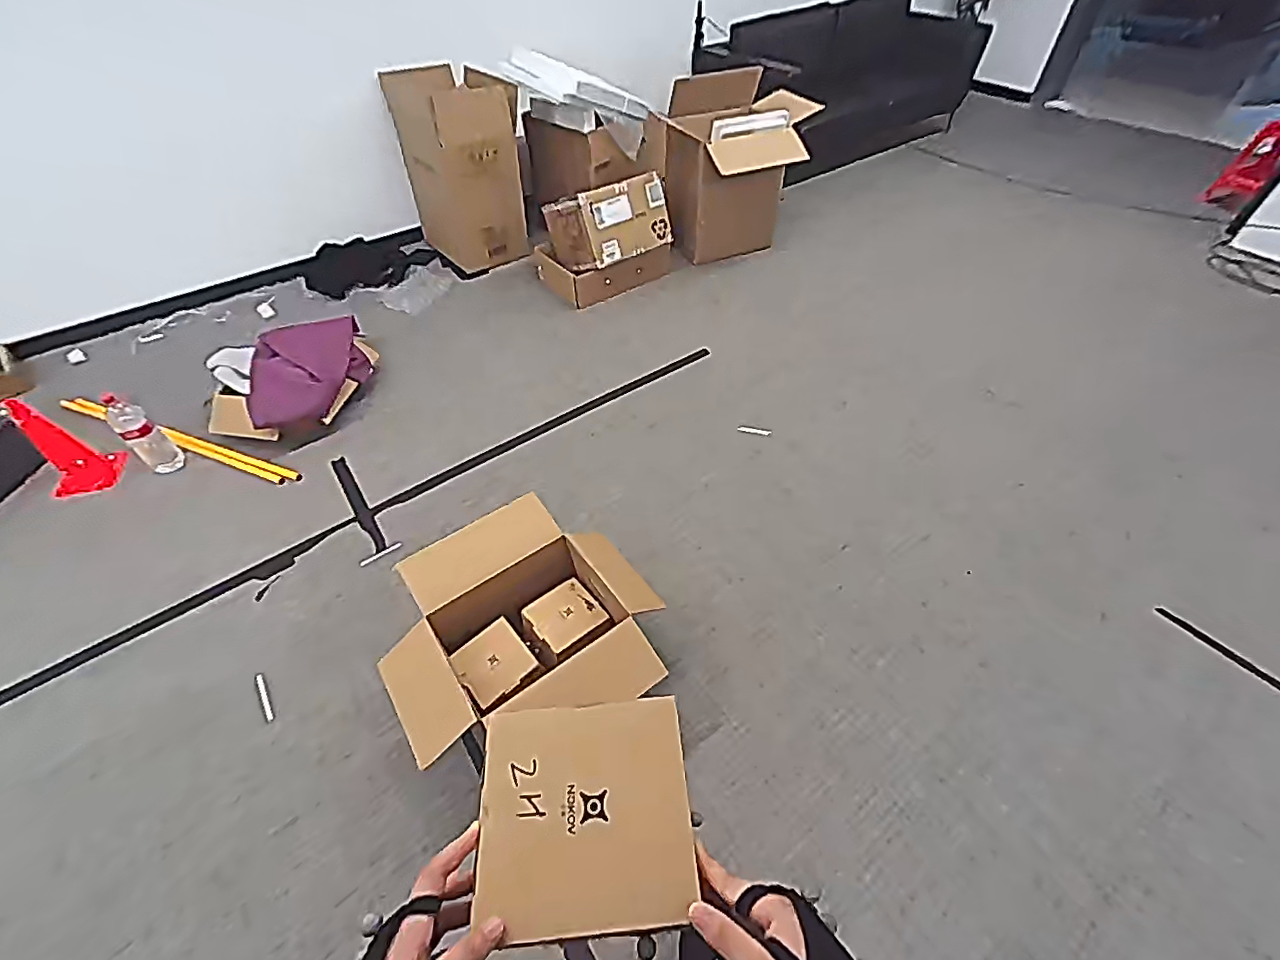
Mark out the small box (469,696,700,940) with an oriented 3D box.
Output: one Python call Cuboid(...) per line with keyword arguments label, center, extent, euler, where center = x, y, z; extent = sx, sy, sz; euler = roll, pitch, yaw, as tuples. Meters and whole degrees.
Cuboid(label="small box", center=(-0.045, 0.322, 0.515), extent=(0.179, 0.176, 0.168), euler=(-5, 49, -2))
